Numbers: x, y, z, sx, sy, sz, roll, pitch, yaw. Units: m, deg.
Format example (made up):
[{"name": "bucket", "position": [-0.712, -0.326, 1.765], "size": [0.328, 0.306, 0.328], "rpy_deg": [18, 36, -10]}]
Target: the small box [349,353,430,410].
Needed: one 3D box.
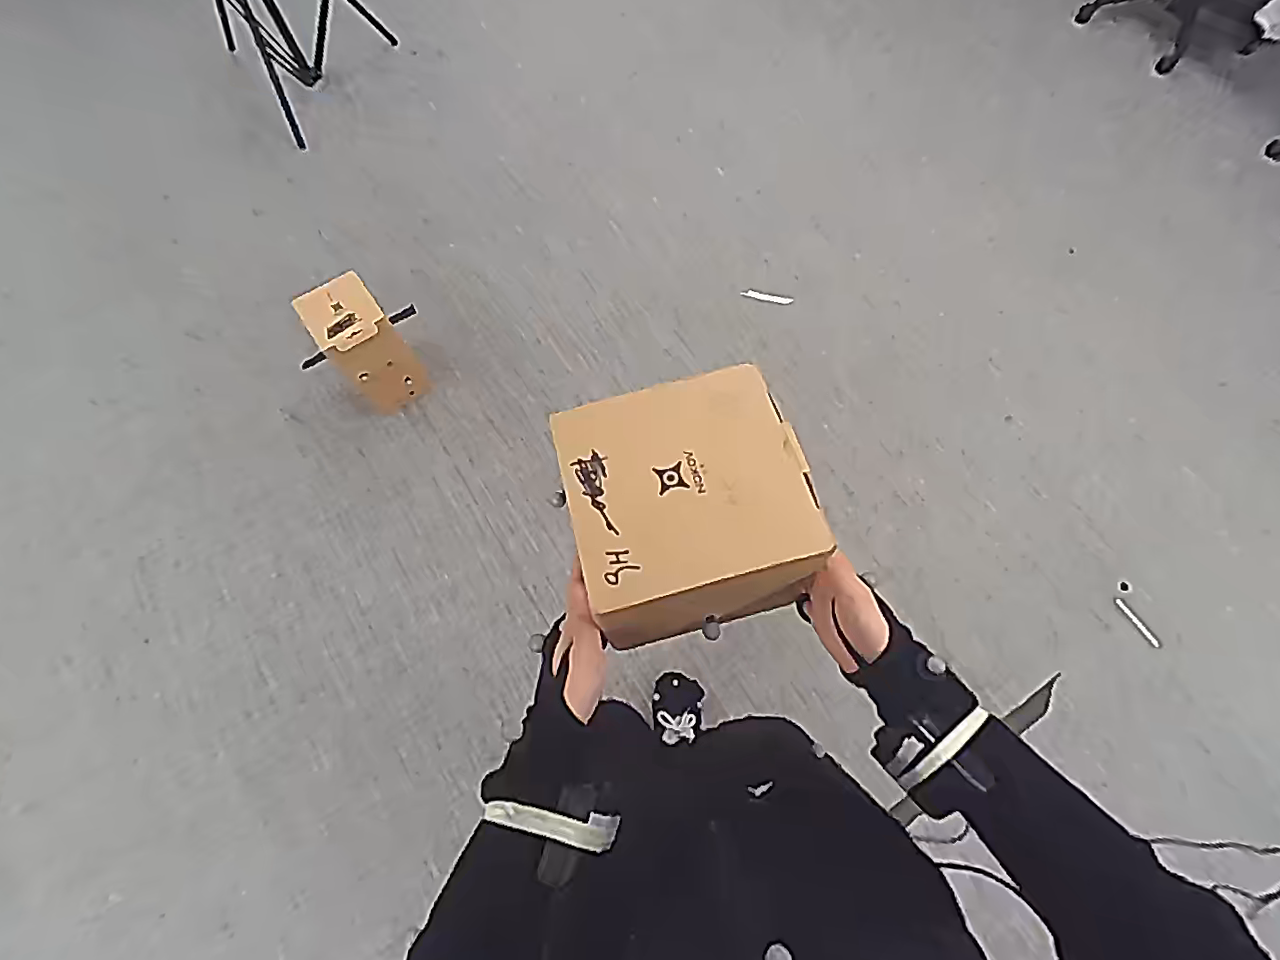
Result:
[{"name": "small box", "position": [-0.721, -0.318, 1.512], "size": [0.168, 0.176, 0.179], "rpy_deg": [-36, 74, -13]}]

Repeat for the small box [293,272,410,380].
[{"name": "small box", "position": [-0.714, -0.374, 1.357], "size": [0.168, 0.176, 0.179], "rpy_deg": [-35, 75, -12]}]

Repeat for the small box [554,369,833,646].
[{"name": "small box", "position": [0.035, 0.033, 0.471], "size": [0.179, 0.176, 0.168], "rpy_deg": [-13, 63, -4]}]
